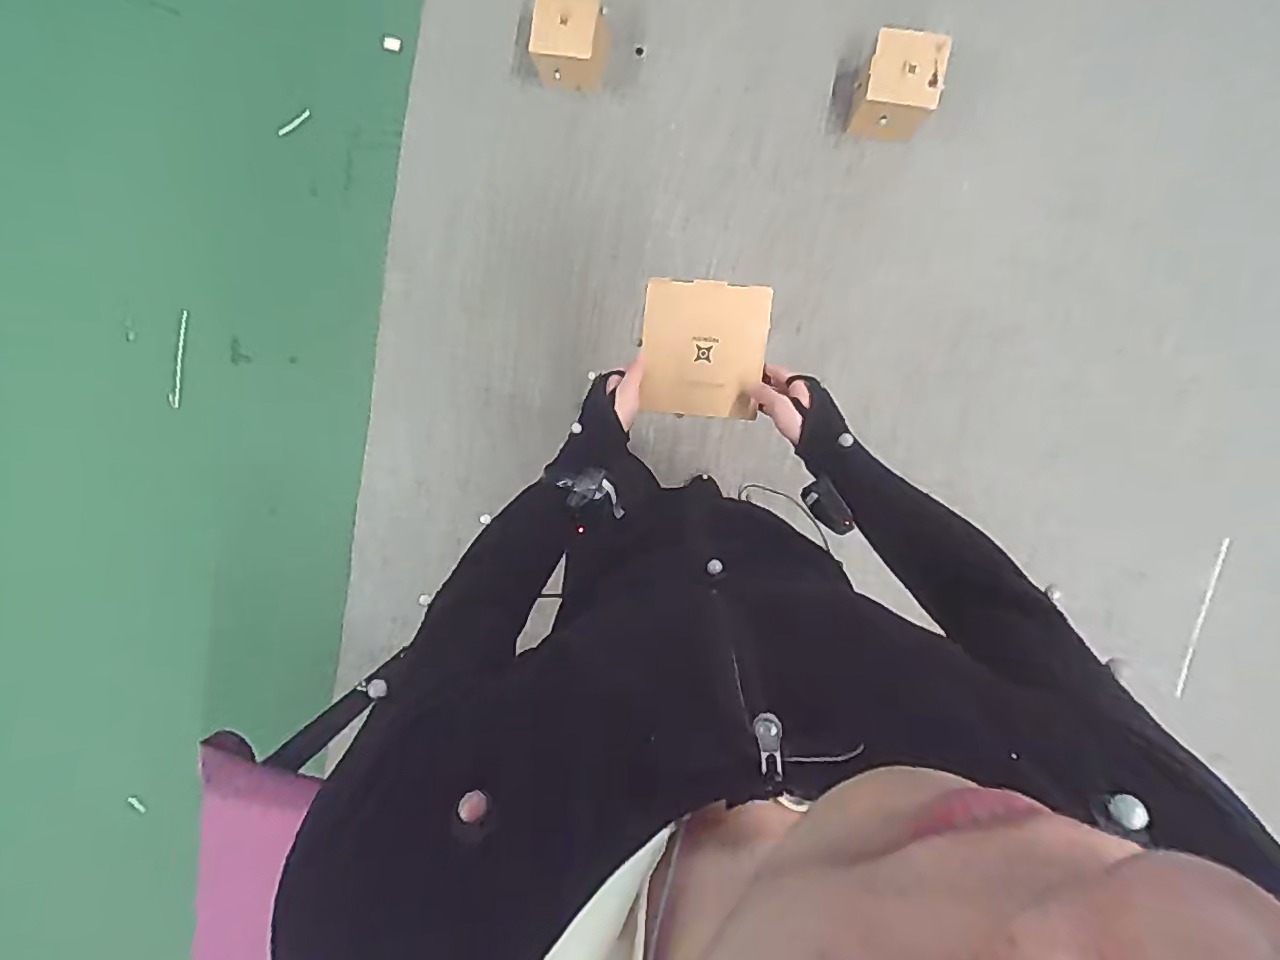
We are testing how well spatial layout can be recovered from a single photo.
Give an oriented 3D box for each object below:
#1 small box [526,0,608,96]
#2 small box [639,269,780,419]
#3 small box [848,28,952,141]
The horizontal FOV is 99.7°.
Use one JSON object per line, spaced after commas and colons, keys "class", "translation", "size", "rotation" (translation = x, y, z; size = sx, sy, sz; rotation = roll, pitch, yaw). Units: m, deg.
{"class": "small box", "translation": [-0.186, -1.159, 1.428], "size": [0.168, 0.176, 0.179], "rotation": [10, 96, 5]}
{"class": "small box", "translation": [0.090, -0.190, 0.776], "size": [0.168, 0.176, 0.179], "rotation": [6, 102, 1]}
{"class": "small box", "translation": [0.646, -0.991, 1.369], "size": [0.179, 0.176, 0.168], "rotation": [11, 97, 4]}
